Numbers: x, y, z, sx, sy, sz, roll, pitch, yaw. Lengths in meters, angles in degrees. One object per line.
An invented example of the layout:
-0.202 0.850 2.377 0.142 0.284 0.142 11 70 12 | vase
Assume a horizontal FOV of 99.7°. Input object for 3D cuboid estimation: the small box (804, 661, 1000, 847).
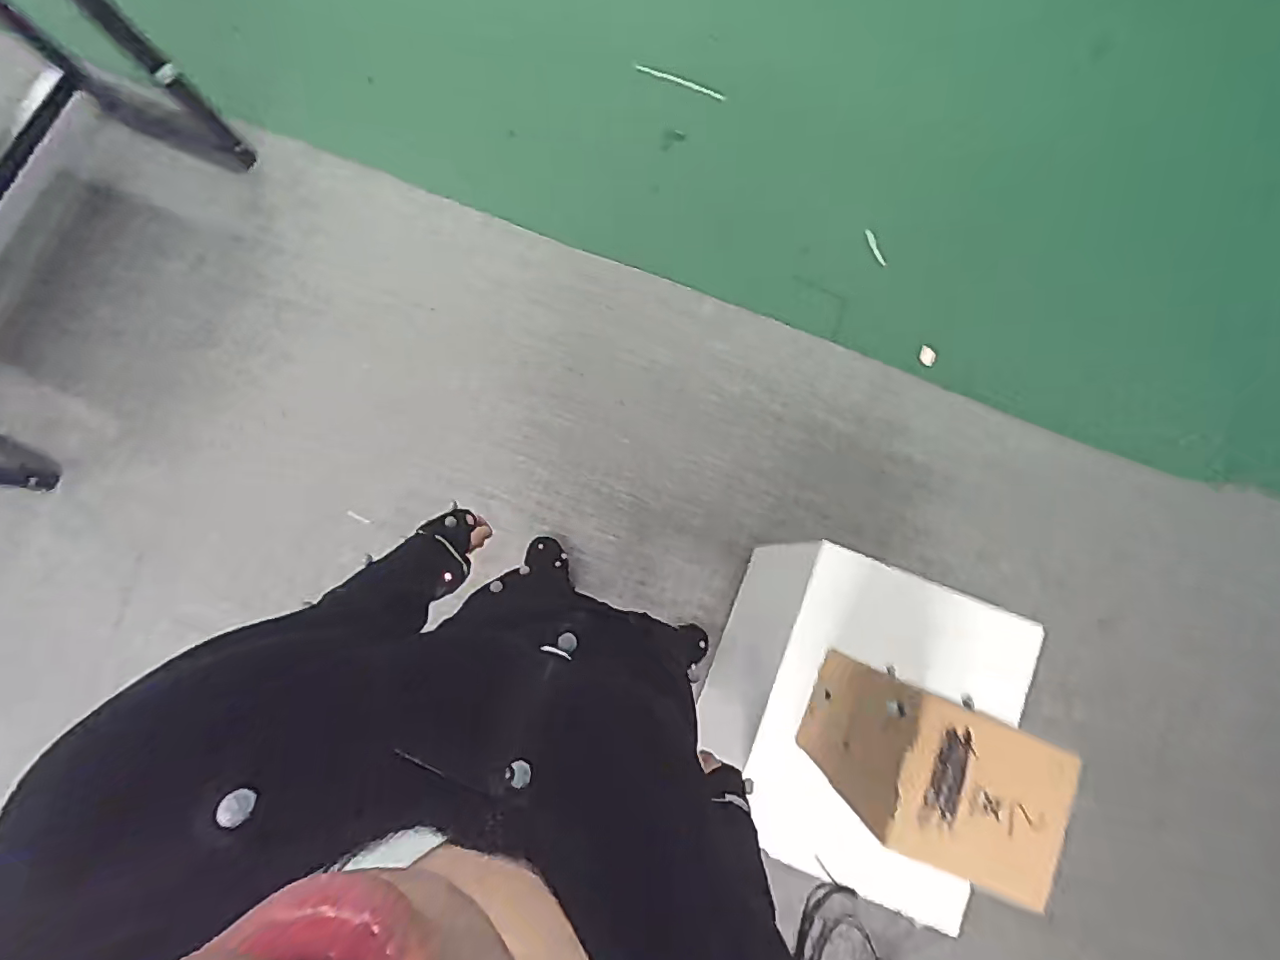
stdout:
0.371 0.383 0.794 0.179 0.176 0.168 22 81 2 | small box
